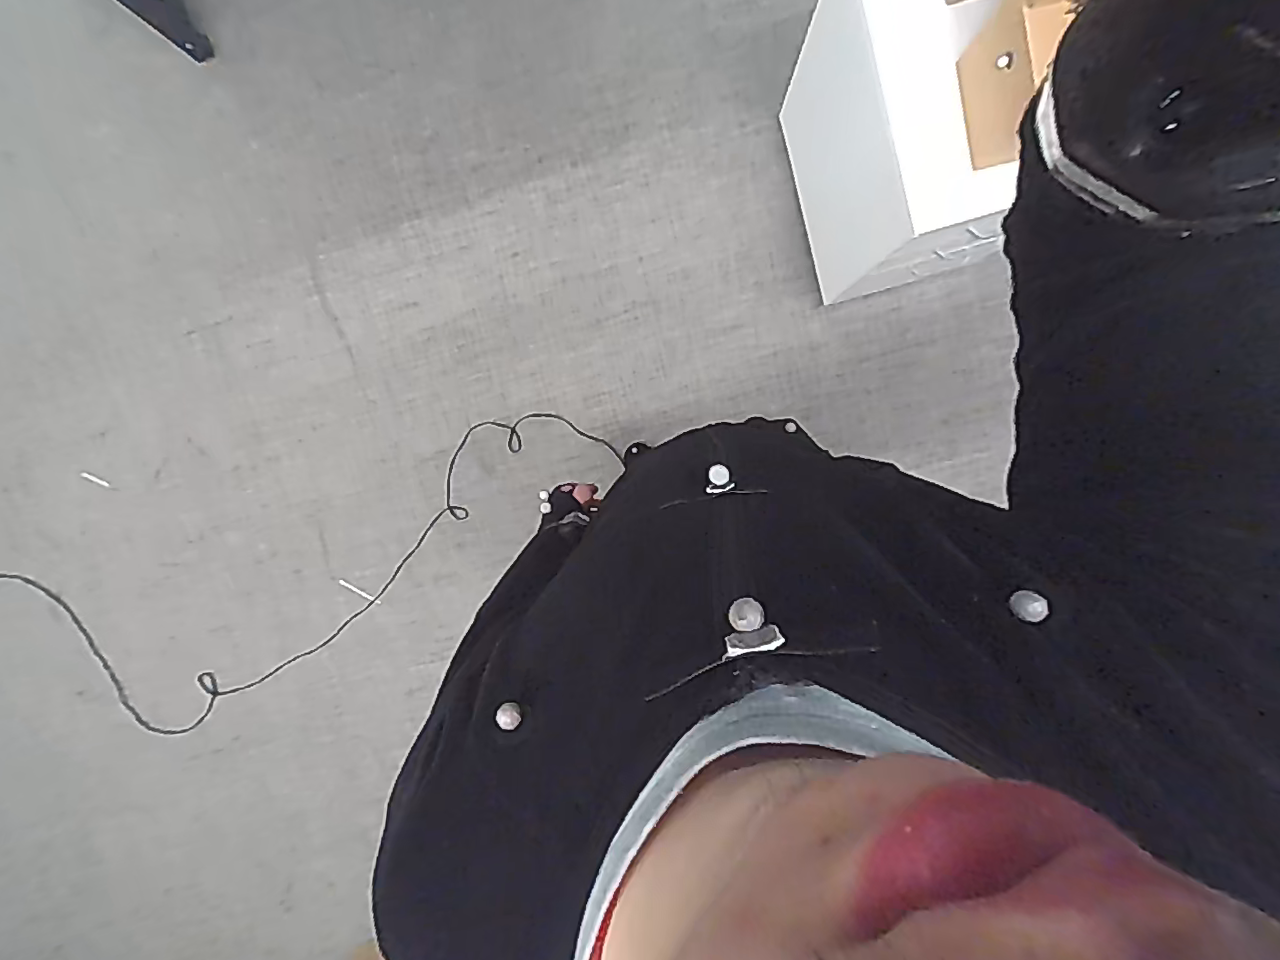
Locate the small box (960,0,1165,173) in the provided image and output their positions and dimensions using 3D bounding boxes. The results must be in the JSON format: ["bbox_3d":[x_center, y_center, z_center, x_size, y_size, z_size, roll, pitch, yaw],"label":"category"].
[{"bbox_3d":[0.599,-0.591,0.790,0.168,0.176,0.179,-12,95,5],"label":"small box"}]
